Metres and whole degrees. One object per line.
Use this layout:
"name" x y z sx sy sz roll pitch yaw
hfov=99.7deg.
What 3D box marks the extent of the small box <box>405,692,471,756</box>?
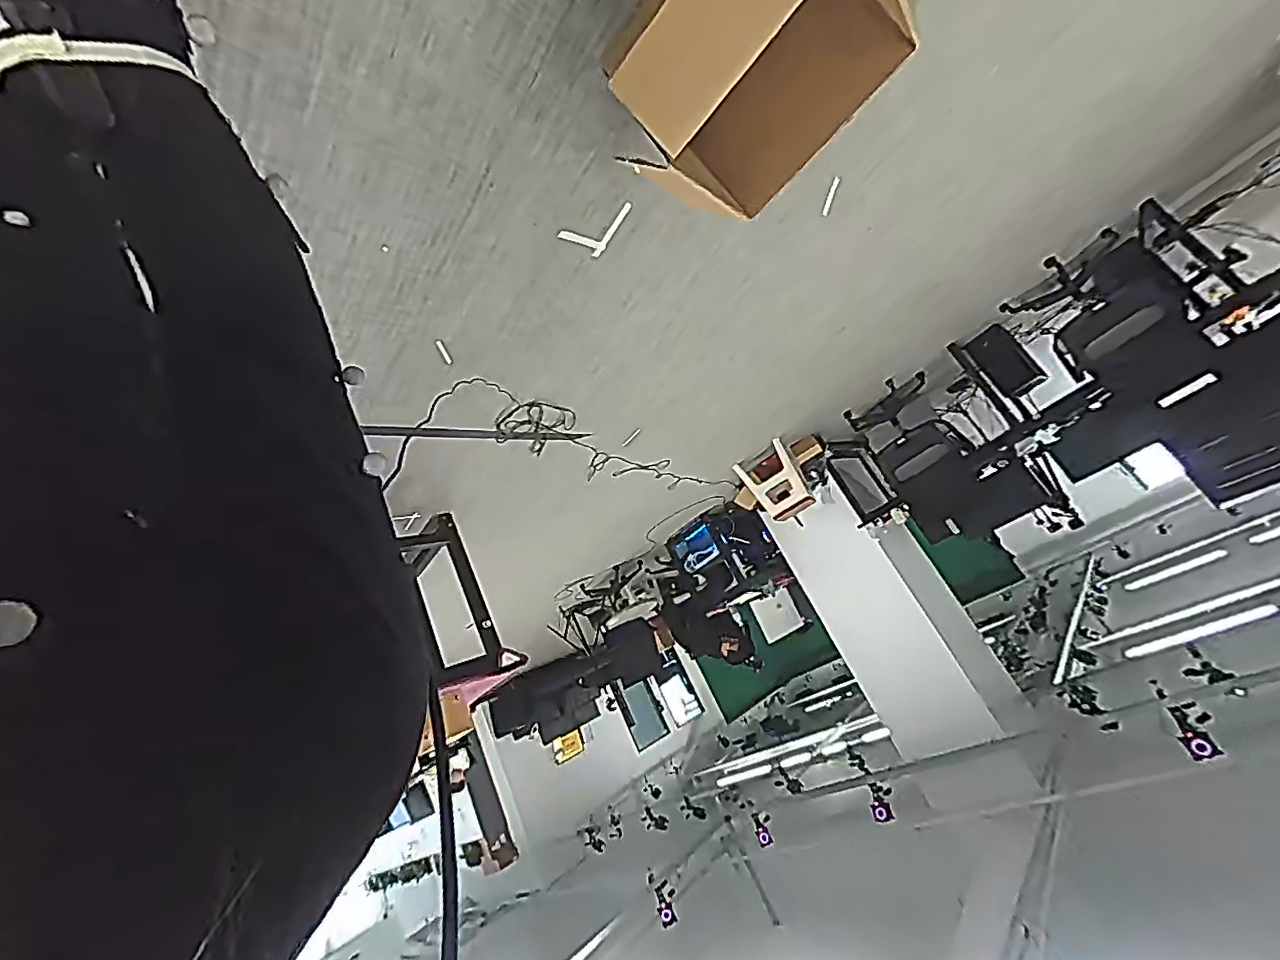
"small box" -0.822 0.974 2.180 0.179 0.176 0.168 -39 157 30
